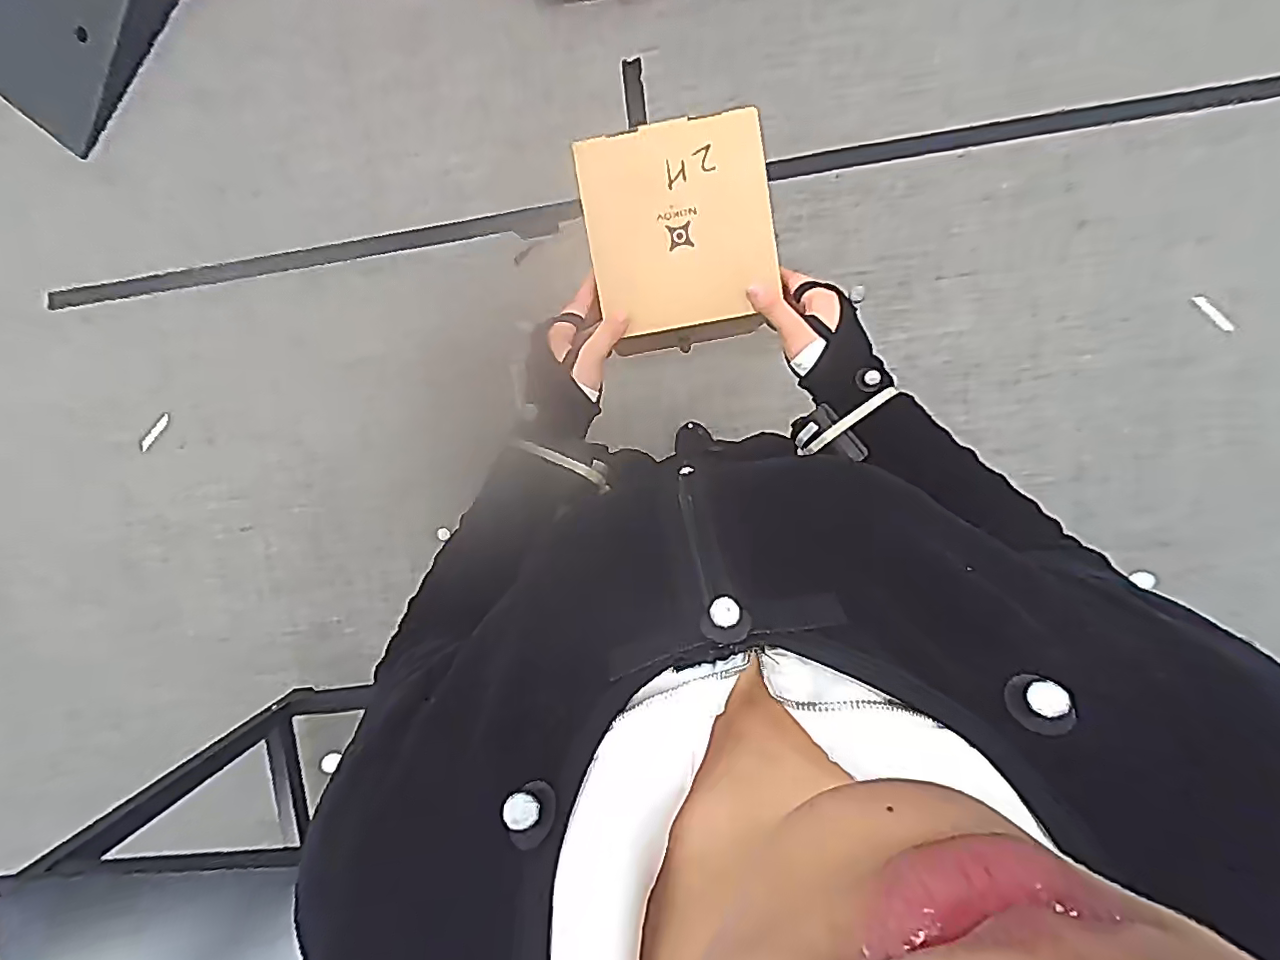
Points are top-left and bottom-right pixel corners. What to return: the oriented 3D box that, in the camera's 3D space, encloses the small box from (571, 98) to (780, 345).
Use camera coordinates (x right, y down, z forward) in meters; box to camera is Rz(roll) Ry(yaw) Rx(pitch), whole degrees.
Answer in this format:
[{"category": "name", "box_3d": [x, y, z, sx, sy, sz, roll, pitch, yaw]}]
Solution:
[{"category": "small box", "box_3d": [0.037, -0.242, 0.558, 0.168, 0.176, 0.179, -10, 97, 3]}]
